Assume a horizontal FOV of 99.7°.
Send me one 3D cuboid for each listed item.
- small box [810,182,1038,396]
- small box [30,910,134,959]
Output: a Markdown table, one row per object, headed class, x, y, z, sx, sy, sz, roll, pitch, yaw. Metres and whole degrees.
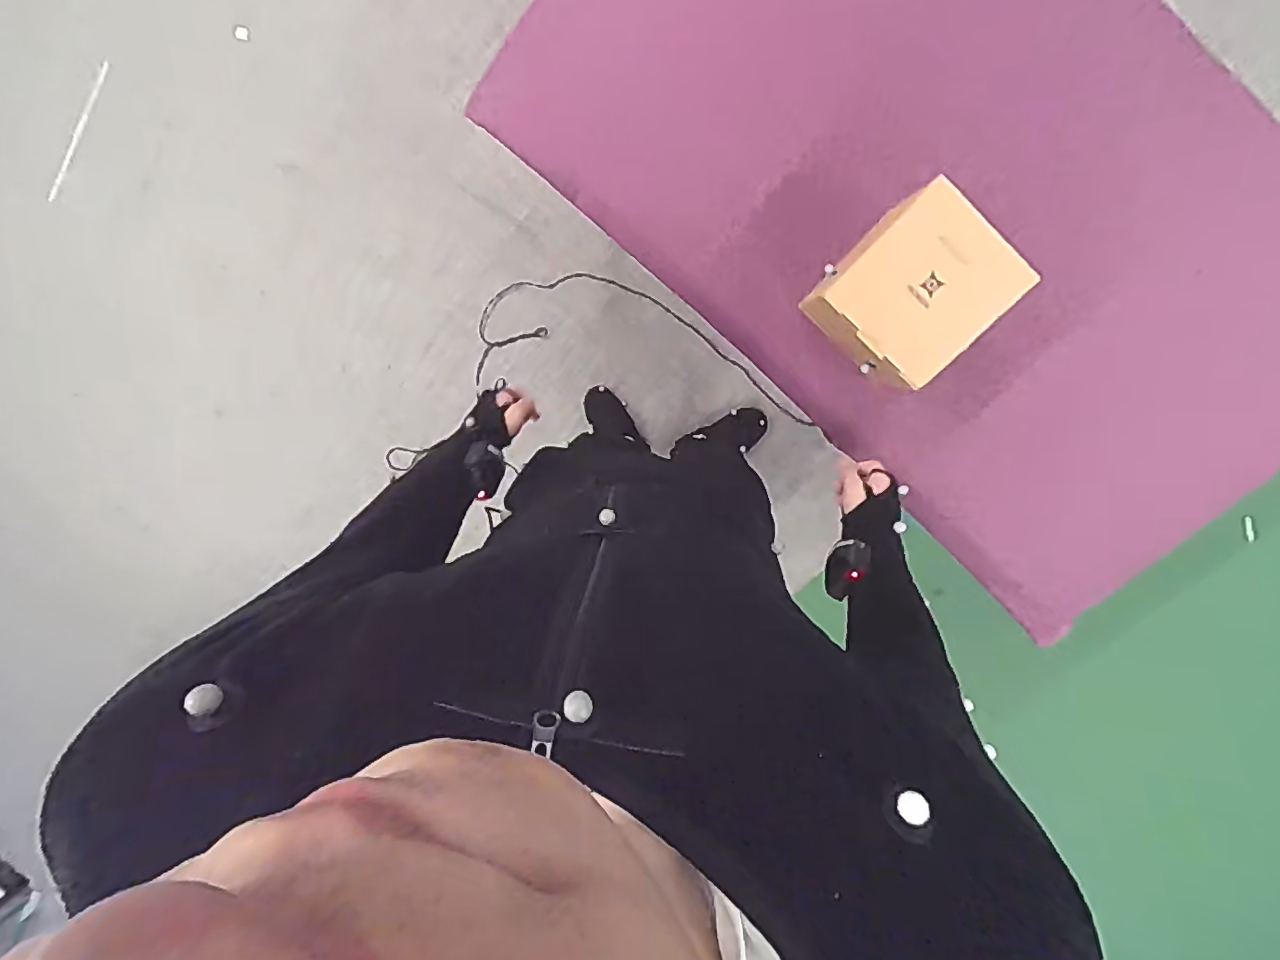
| class | x | y | z | sx | sy | sz | roll | pitch | yaw |
| --- | --- | --- | --- | --- | --- | --- | --- | --- | --- |
| small box | 0.340 | -0.231 | 0.695 | 0.168 | 0.176 | 0.179 | 43 | 104 | -5 |
| small box | -1.373 | 1.186 | 1.286 | 0.168 | 0.176 | 0.179 | 43 | 104 | -4 |
